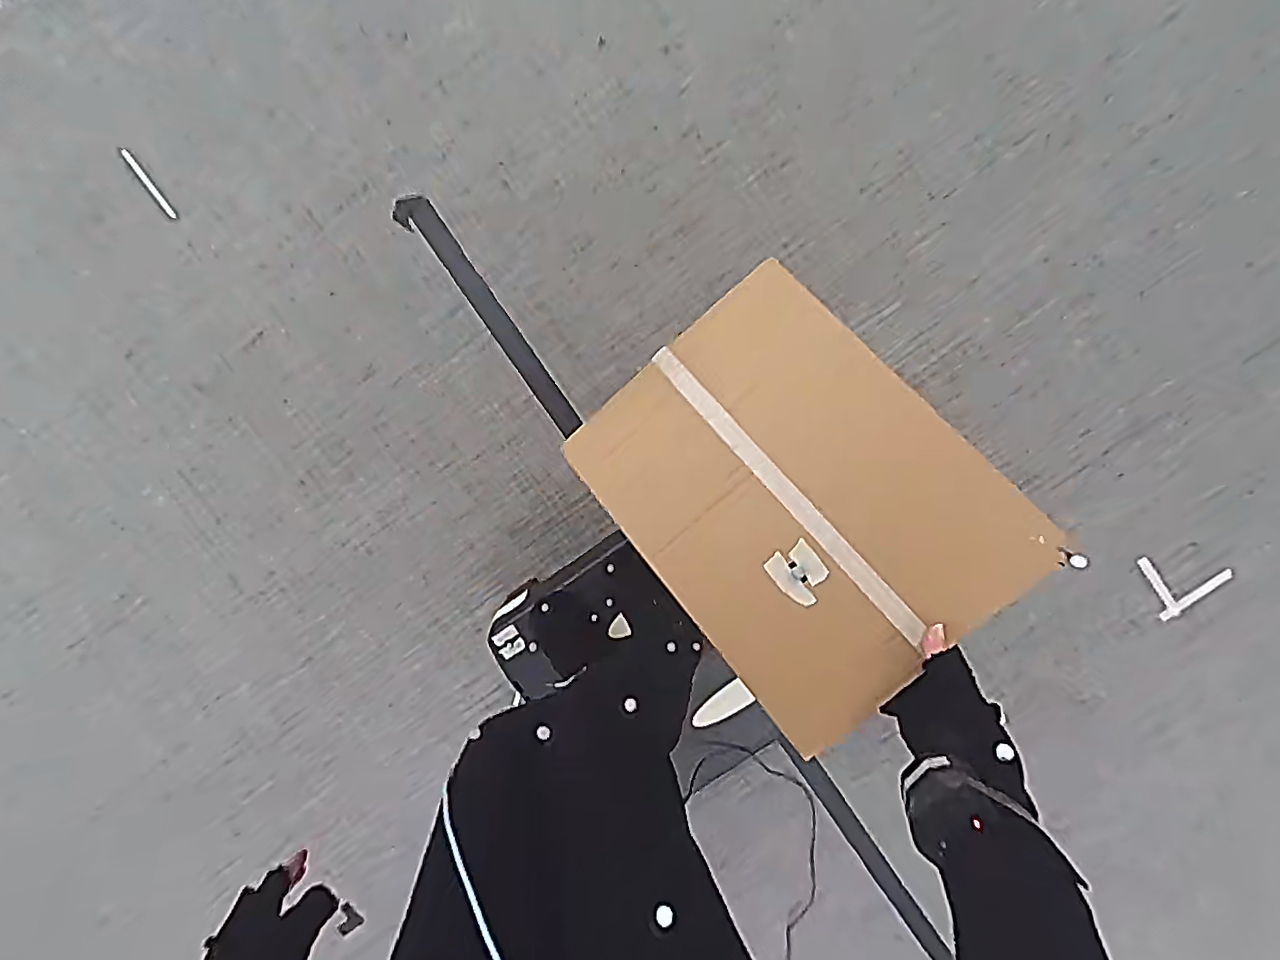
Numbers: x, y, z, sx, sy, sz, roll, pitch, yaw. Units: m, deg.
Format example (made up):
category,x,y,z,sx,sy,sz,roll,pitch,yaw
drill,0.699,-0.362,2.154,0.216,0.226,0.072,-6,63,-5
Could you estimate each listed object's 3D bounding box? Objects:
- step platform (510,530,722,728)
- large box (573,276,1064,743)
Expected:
category,x,y,z,sx,sy,sz,roll,pitch,yaw
step platform,0.076,0.185,1.088,0.684,0.204,0.286,-36,96,4
large box,0.190,0.033,0.703,0.320,0.320,0.408,-41,76,7
